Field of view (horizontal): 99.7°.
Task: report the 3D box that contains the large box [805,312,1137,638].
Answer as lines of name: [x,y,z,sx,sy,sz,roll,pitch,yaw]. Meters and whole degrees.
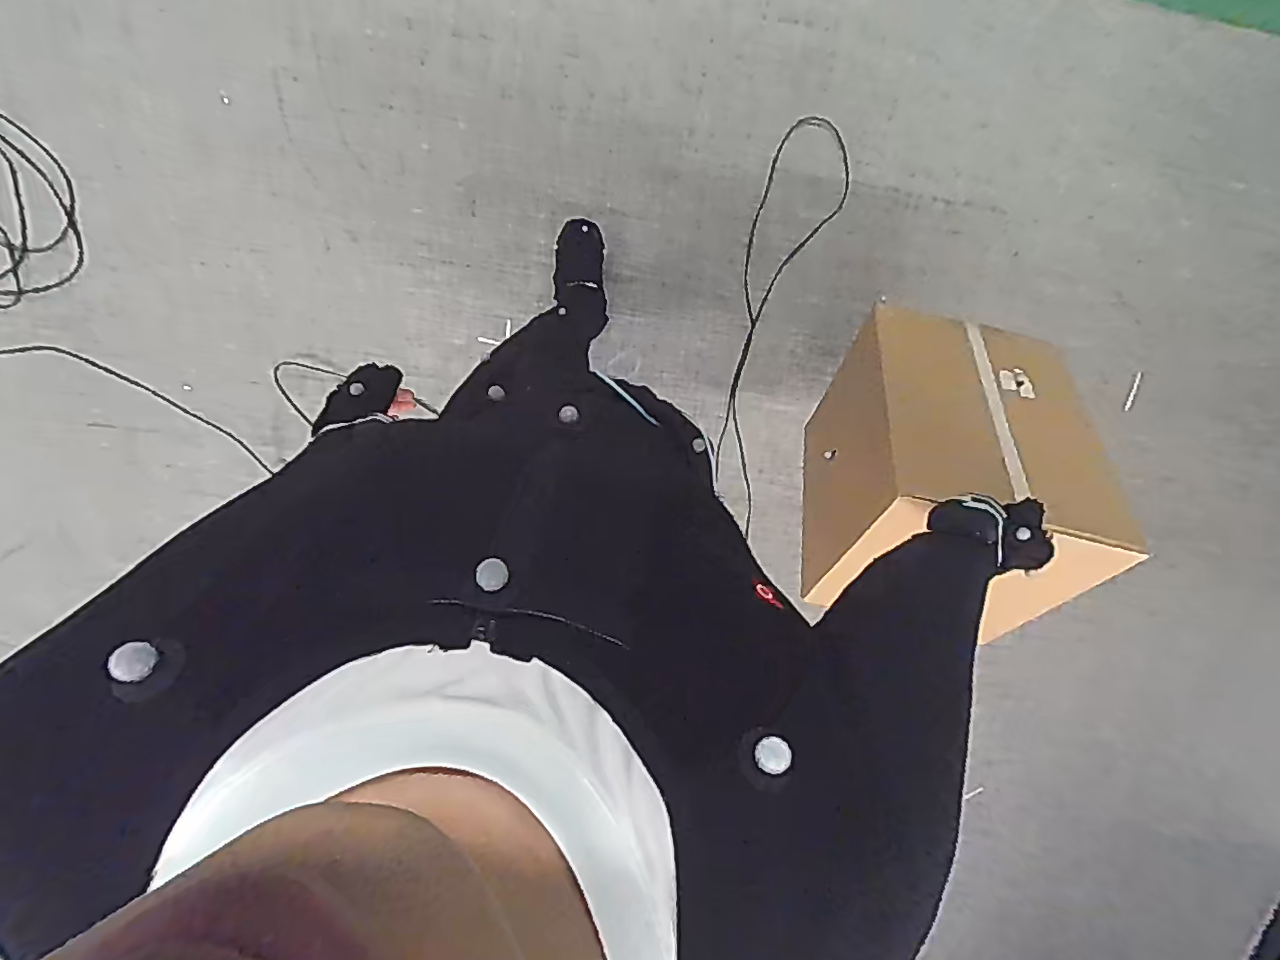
large box: [0.476,-0.007,0.898,0.320,0.408,0.320,14,142,0]
